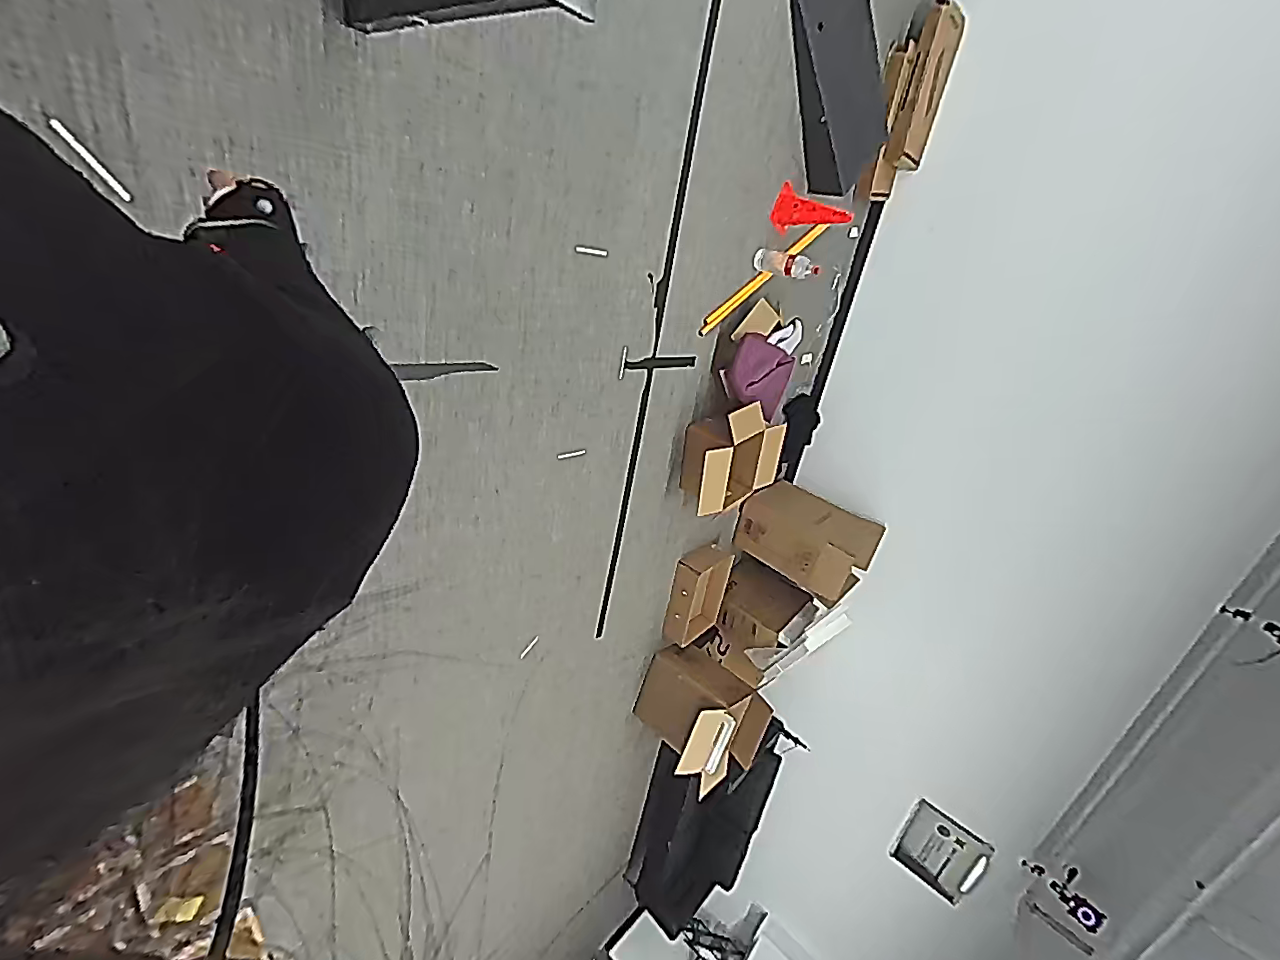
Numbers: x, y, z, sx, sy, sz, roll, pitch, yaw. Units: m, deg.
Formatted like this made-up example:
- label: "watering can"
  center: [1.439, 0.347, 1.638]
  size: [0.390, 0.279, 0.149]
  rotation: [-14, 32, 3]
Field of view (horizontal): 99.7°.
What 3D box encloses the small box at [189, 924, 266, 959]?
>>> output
- label: "small box"
  center: [-0.992, 1.233, 1.295]
  size: [0.168, 0.176, 0.179]
  rotation: [-20, 124, -48]
